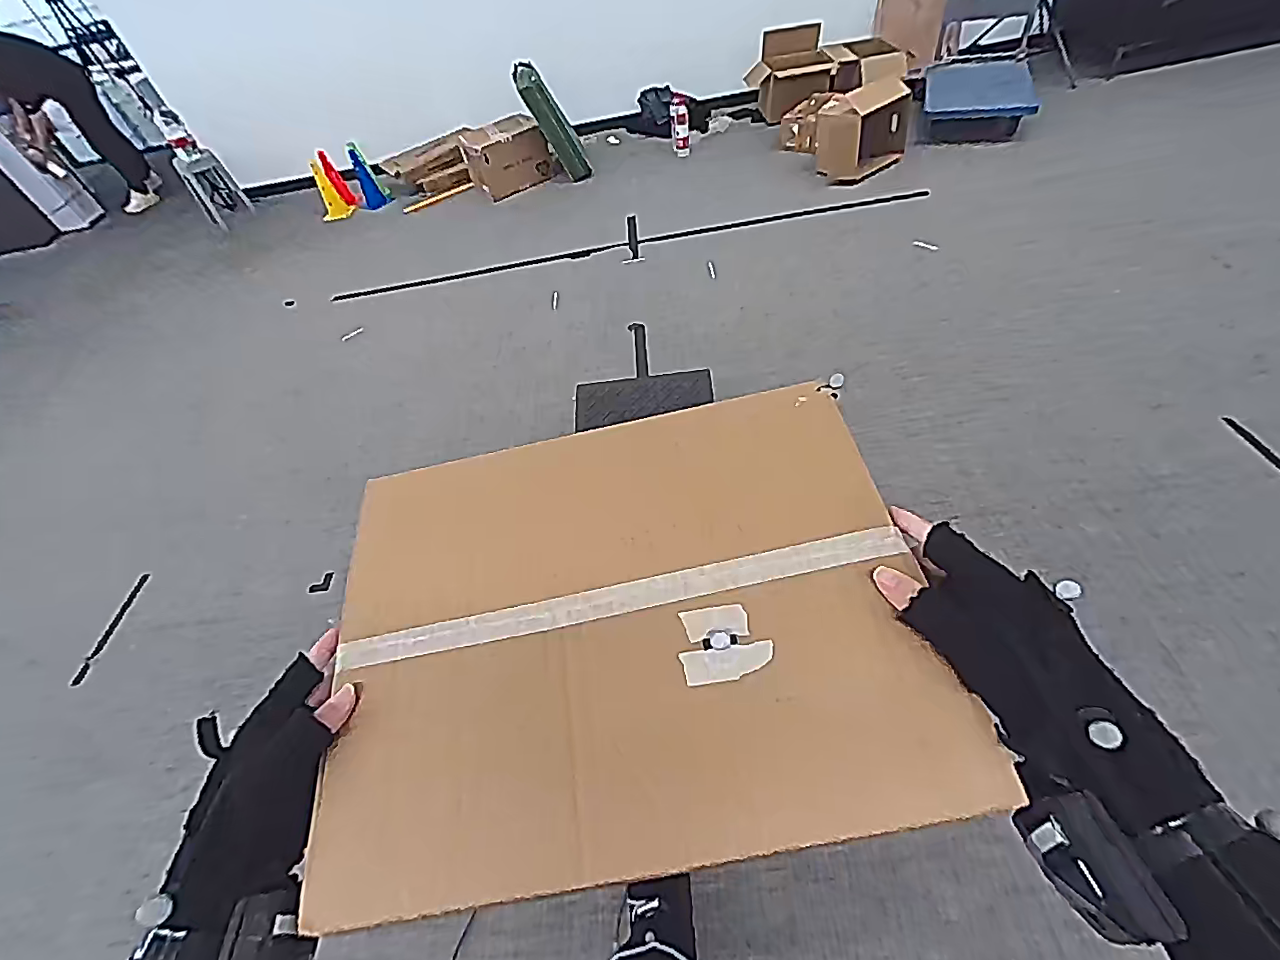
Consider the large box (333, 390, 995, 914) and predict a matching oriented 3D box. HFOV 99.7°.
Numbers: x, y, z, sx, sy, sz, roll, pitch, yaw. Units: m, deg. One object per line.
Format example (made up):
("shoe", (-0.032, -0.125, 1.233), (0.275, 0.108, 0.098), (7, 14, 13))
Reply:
("large box", (0.008, 0.168, 0.517), (0.408, 0.320, 0.320), (-12, 57, 2))
